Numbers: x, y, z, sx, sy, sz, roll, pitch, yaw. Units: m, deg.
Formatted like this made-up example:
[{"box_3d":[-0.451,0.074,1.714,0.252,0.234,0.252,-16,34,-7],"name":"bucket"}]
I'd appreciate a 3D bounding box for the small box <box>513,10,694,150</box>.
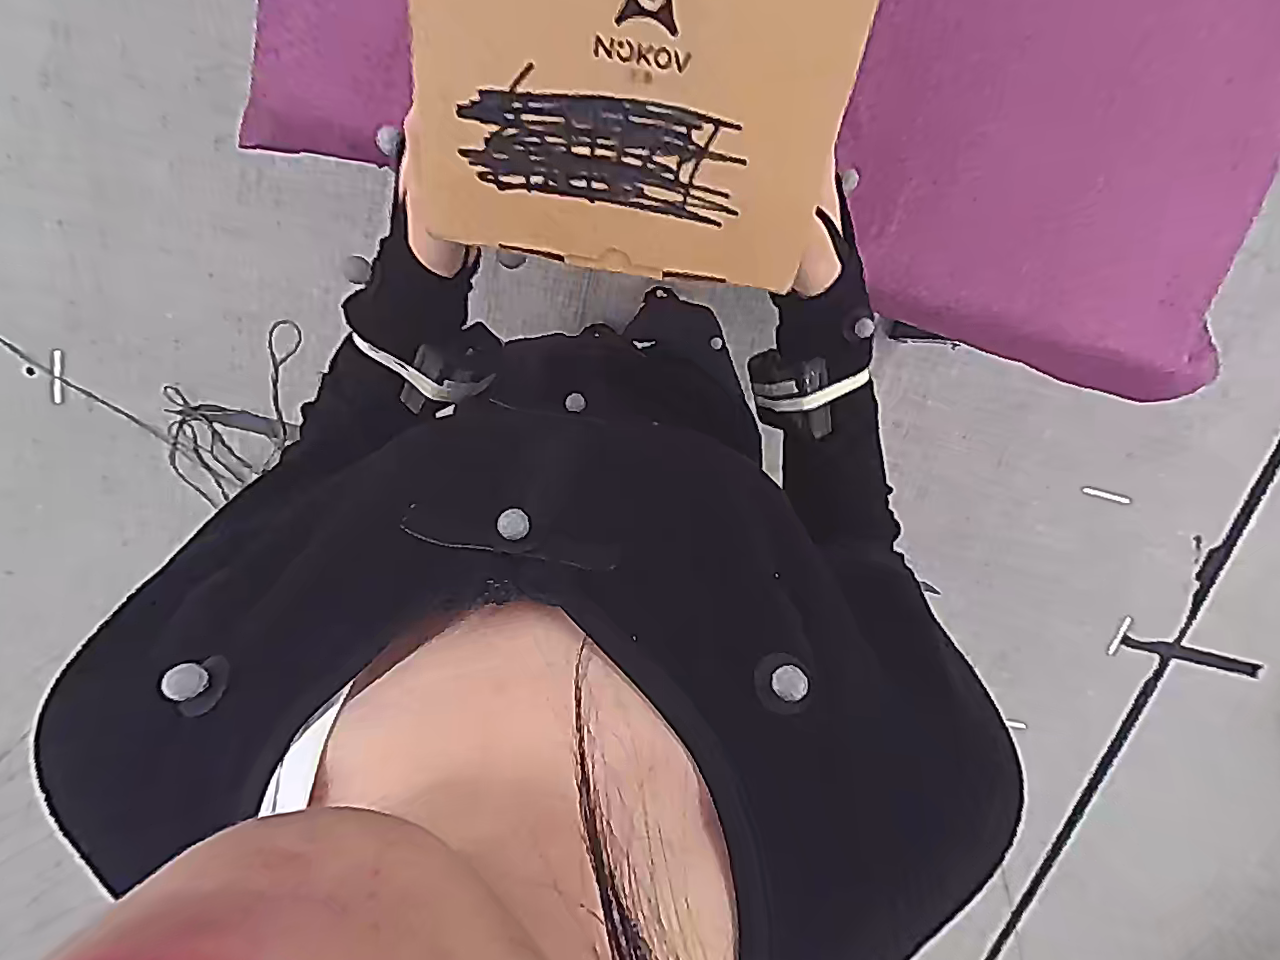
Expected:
[{"box_3d":[-0.017,-0.472,0.550,0.168,0.176,0.179,15,103,-7],"name":"small box"}]
